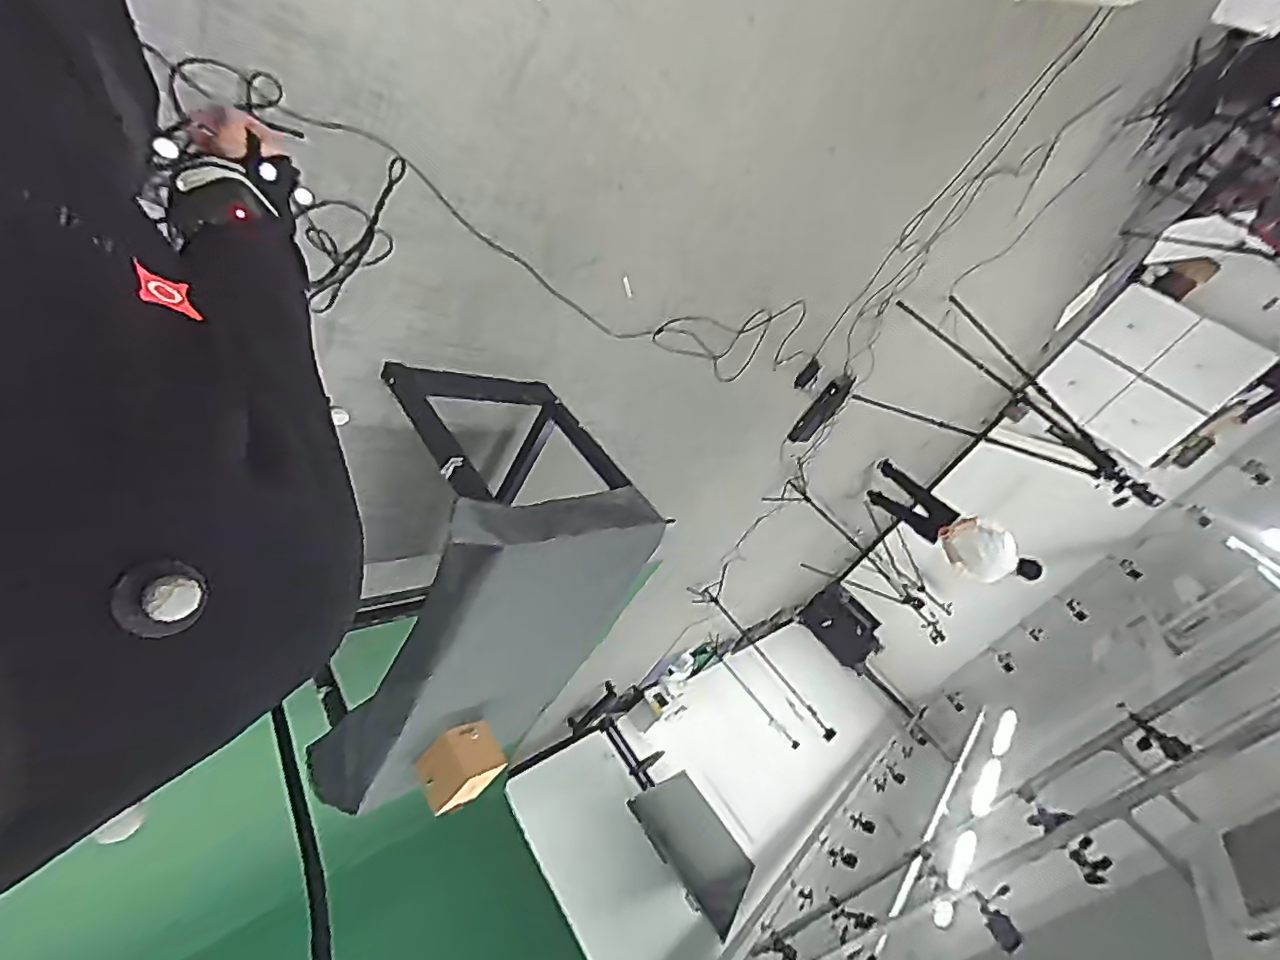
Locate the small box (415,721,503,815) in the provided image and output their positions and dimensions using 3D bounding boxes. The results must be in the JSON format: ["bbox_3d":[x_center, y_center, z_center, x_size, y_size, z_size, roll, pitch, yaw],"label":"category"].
[{"bbox_3d":[-0.567,0.883,1.673,0.179,0.176,0.168,-50,153,13],"label":"small box"}]
